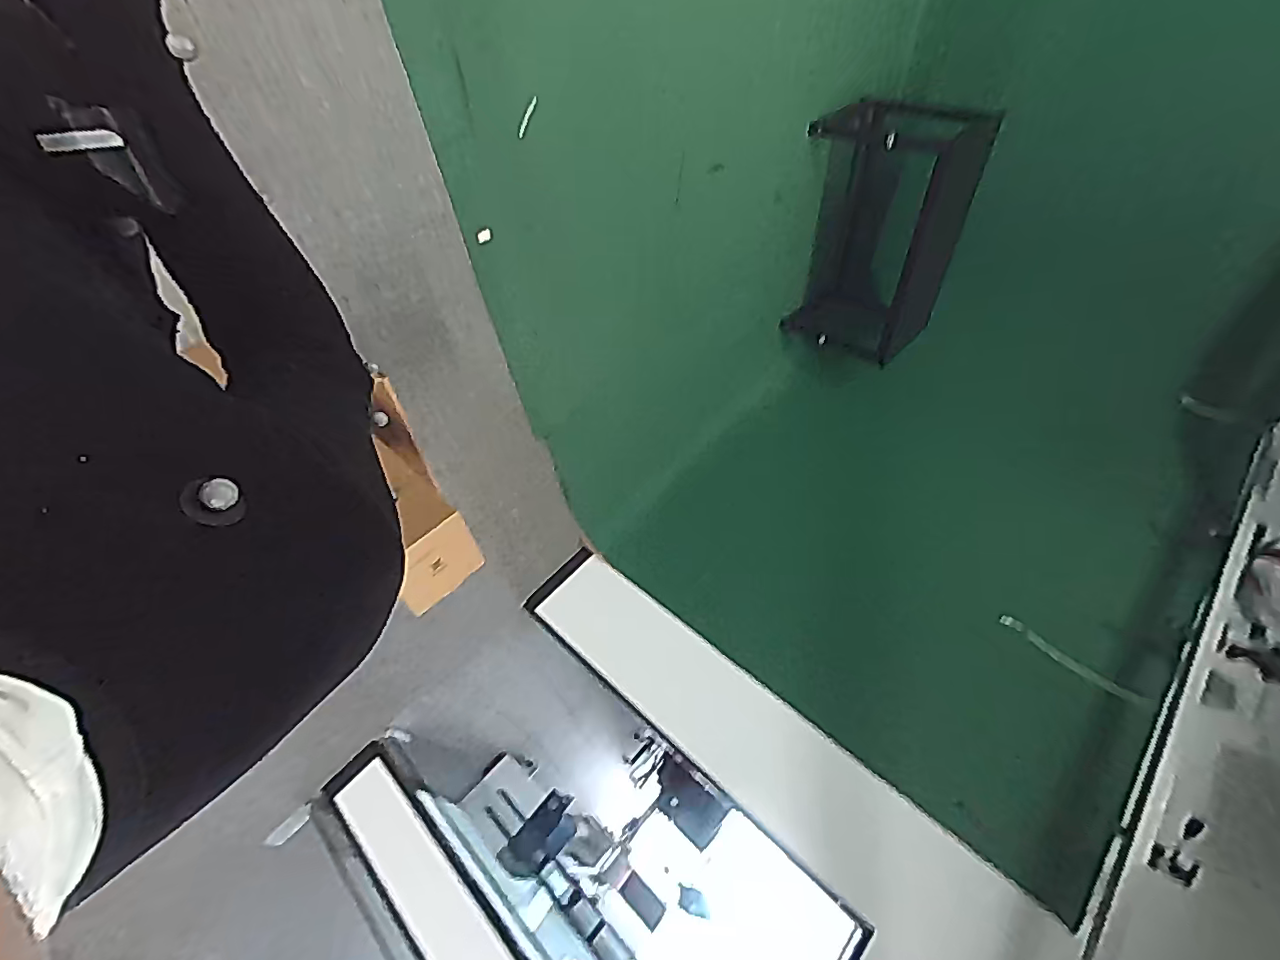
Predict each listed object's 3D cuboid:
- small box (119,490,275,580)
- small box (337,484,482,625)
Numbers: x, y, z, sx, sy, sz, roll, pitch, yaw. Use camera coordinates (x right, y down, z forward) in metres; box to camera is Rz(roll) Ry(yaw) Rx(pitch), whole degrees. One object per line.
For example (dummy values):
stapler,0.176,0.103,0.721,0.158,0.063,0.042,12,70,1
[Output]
small box,-0.879,0.152,1.082,0.168,0.176,0.179,-38,144,-30
small box,-0.444,0.140,1.051,0.168,0.176,0.179,-41,146,-28
